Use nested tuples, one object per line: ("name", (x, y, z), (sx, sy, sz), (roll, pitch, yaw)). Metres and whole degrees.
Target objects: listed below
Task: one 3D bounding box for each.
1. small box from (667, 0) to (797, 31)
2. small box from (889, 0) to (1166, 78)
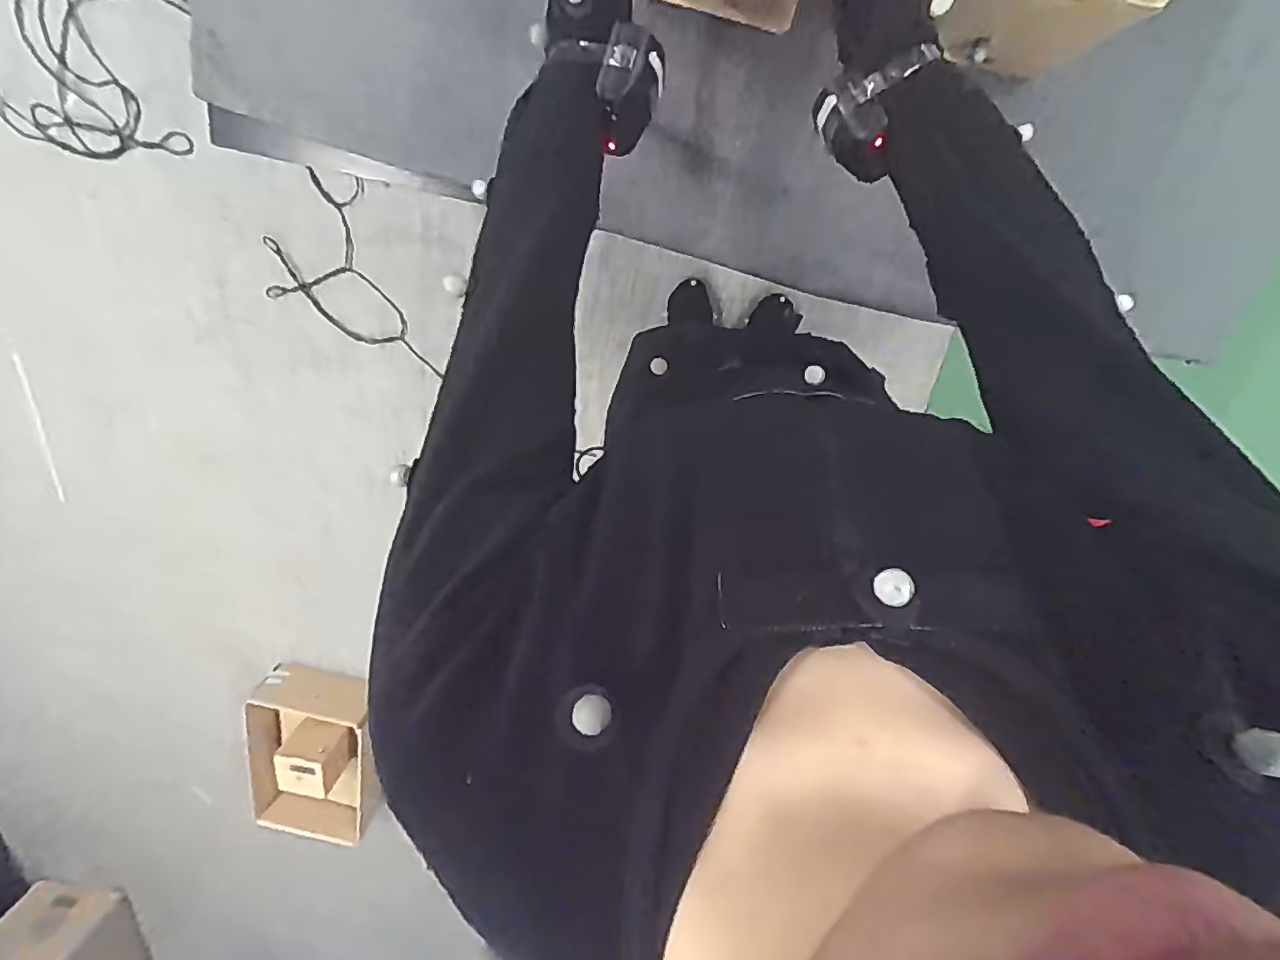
("small box", (0.082, -0.516, 0.427), (0.168, 0.176, 0.179), (14, 105, -1))
("small box", (0.333, -0.473, 0.445), (0.168, 0.176, 0.179), (12, 112, 2))
